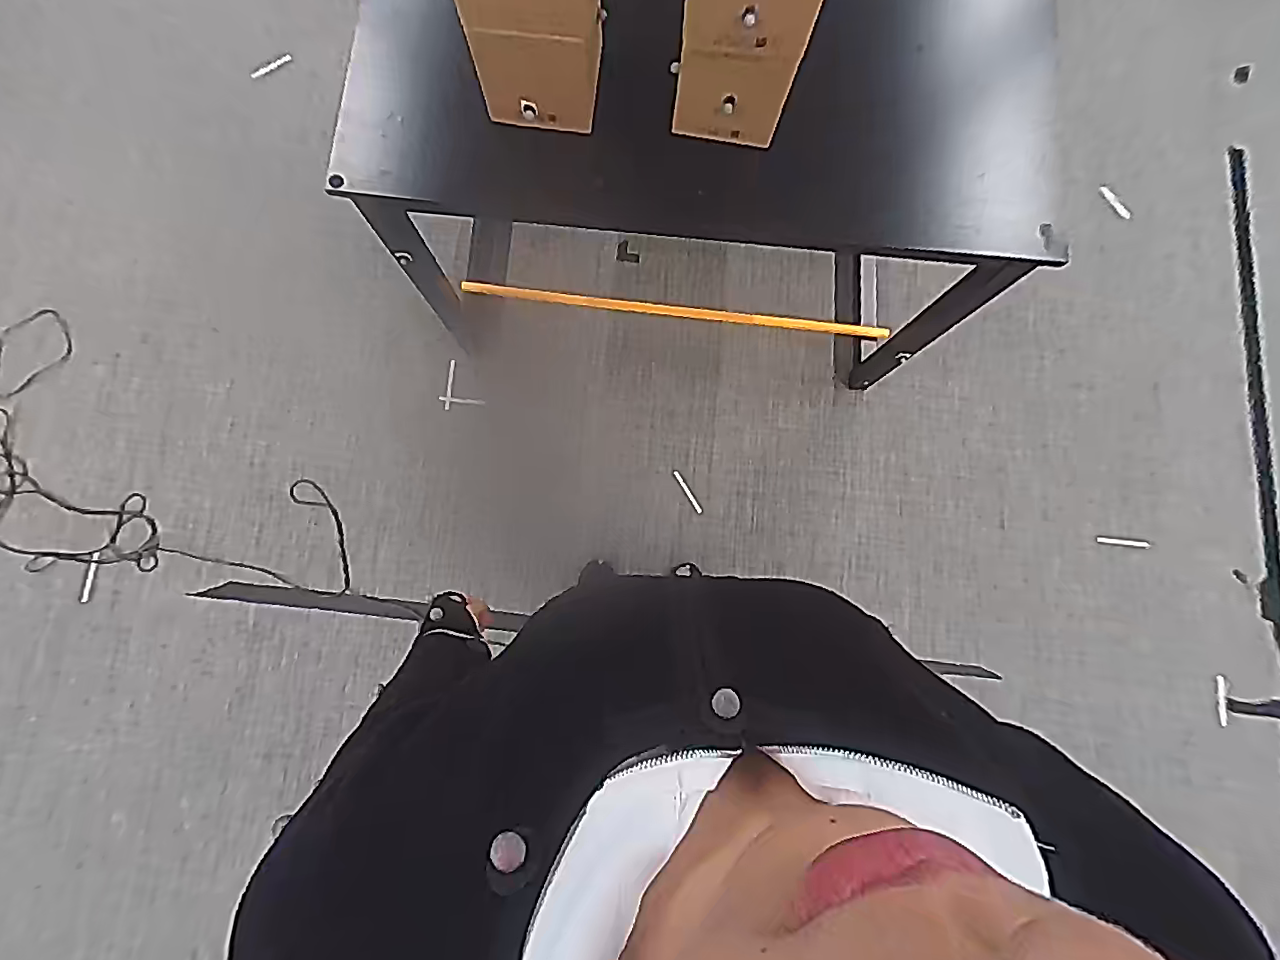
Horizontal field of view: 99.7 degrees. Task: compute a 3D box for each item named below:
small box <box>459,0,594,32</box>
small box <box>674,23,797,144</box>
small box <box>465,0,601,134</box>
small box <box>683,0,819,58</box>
[{"bbox_3d":[-0.146,-0.698,0.662,0.179,0.176,0.168,4,81,-1],"label":"small box"},{"bbox_3d":[0.147,-0.660,0.832,0.168,0.176,0.179,9,82,0],"label":"small box"},{"bbox_3d":[-0.151,-0.675,0.825,0.168,0.176,0.179,5,82,0],"label":"small box"},{"bbox_3d":[0.145,-0.677,0.666,0.168,0.176,0.179,4,81,-1],"label":"small box"}]
